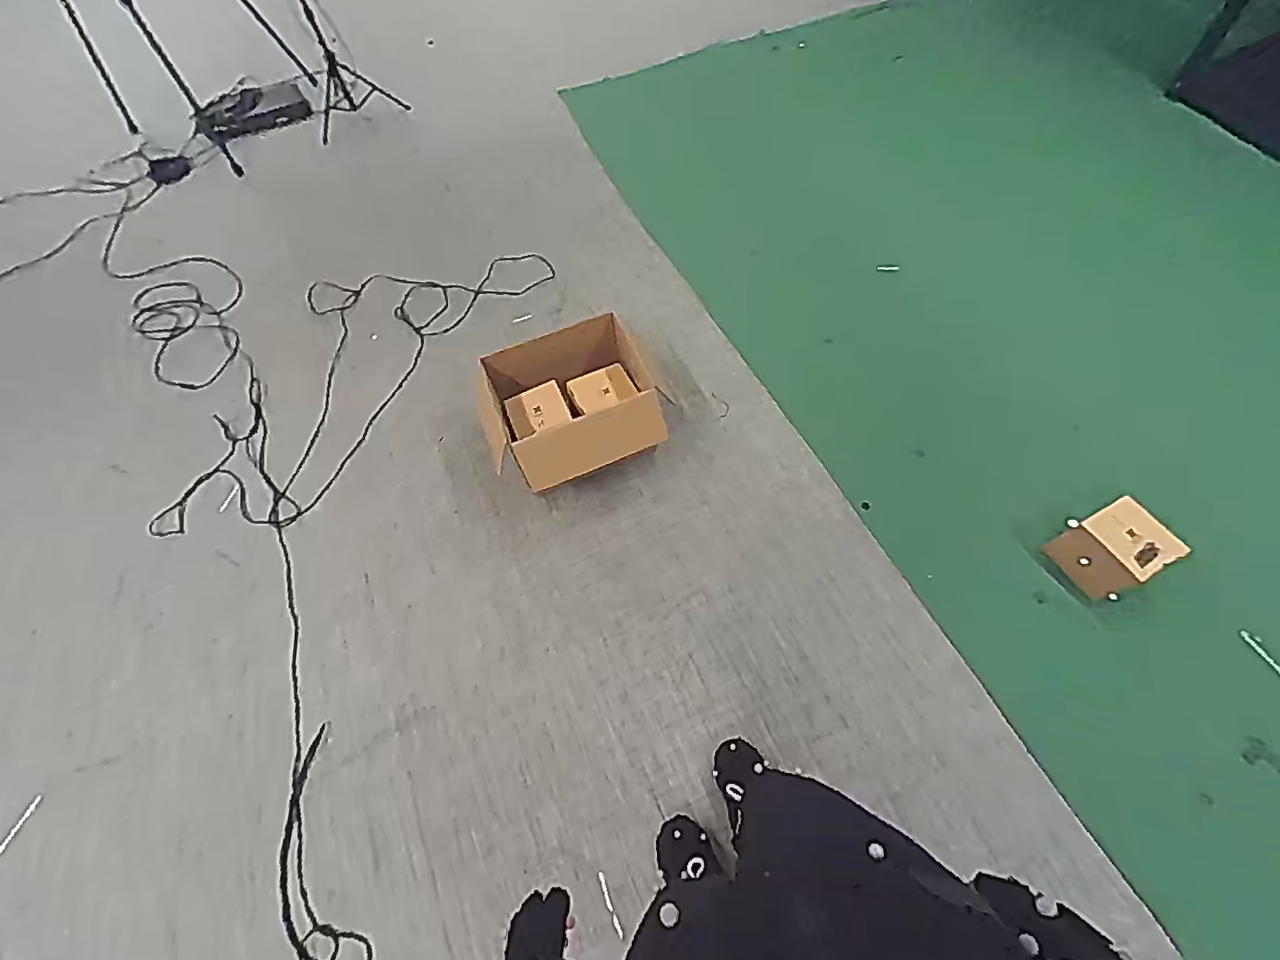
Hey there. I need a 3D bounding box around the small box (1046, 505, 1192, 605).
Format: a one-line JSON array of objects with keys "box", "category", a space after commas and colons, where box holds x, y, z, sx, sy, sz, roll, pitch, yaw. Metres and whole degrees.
[{"box": [1.196, 0.199, 1.366, 0.168, 0.176, 0.179, -25, 61, -11], "category": "small box"}]
